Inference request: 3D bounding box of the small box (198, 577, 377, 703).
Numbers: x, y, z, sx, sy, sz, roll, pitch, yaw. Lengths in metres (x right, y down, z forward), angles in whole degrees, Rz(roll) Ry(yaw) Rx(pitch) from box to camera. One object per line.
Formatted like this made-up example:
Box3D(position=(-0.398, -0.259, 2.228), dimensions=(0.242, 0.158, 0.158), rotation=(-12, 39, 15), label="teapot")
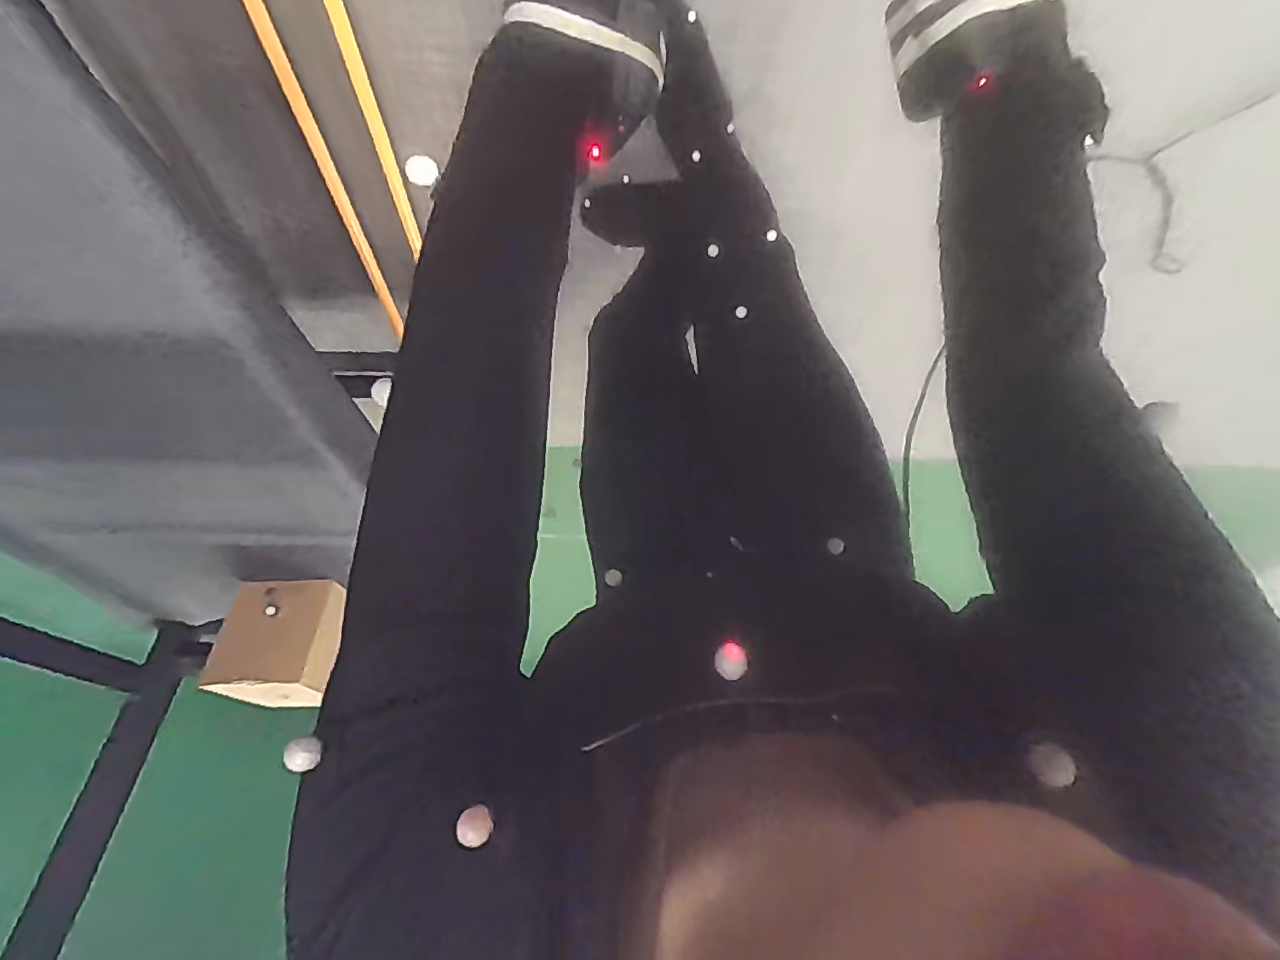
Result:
Box3D(position=(-0.583, 0.276, 0.927), dimensions=(0.168, 0.176, 0.179), rotation=(-2, 147, 4), label="small box")
